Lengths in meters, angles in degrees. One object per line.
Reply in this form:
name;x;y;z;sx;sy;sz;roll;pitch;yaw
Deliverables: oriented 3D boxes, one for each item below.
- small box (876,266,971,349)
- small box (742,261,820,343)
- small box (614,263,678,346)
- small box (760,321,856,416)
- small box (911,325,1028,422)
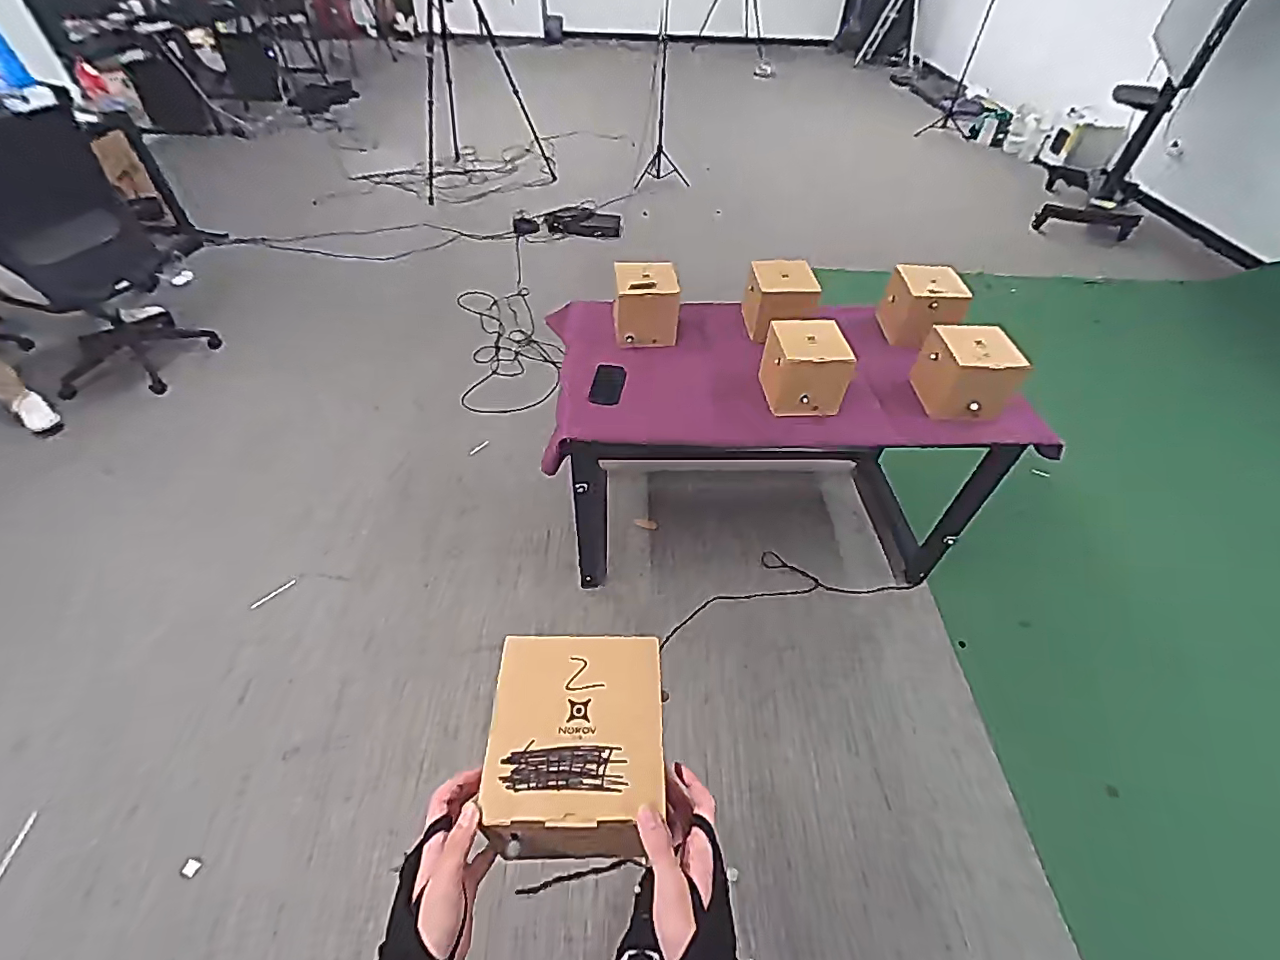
small box;0.810;-0.498;1.567;0.168;0.176;0.179;1;47;0
small box;0.399;-0.513;1.566;0.168;0.176;0.179;-1;49;-2
small box;0.013;-0.493;1.528;0.168;0.176;0.179;-3;47;-5
small box;0.407;-0.279;1.351;0.168;0.176;0.179;-1;47;-4
small box;0.808;-0.266;1.350;0.168;0.176;0.179;1;48;0
